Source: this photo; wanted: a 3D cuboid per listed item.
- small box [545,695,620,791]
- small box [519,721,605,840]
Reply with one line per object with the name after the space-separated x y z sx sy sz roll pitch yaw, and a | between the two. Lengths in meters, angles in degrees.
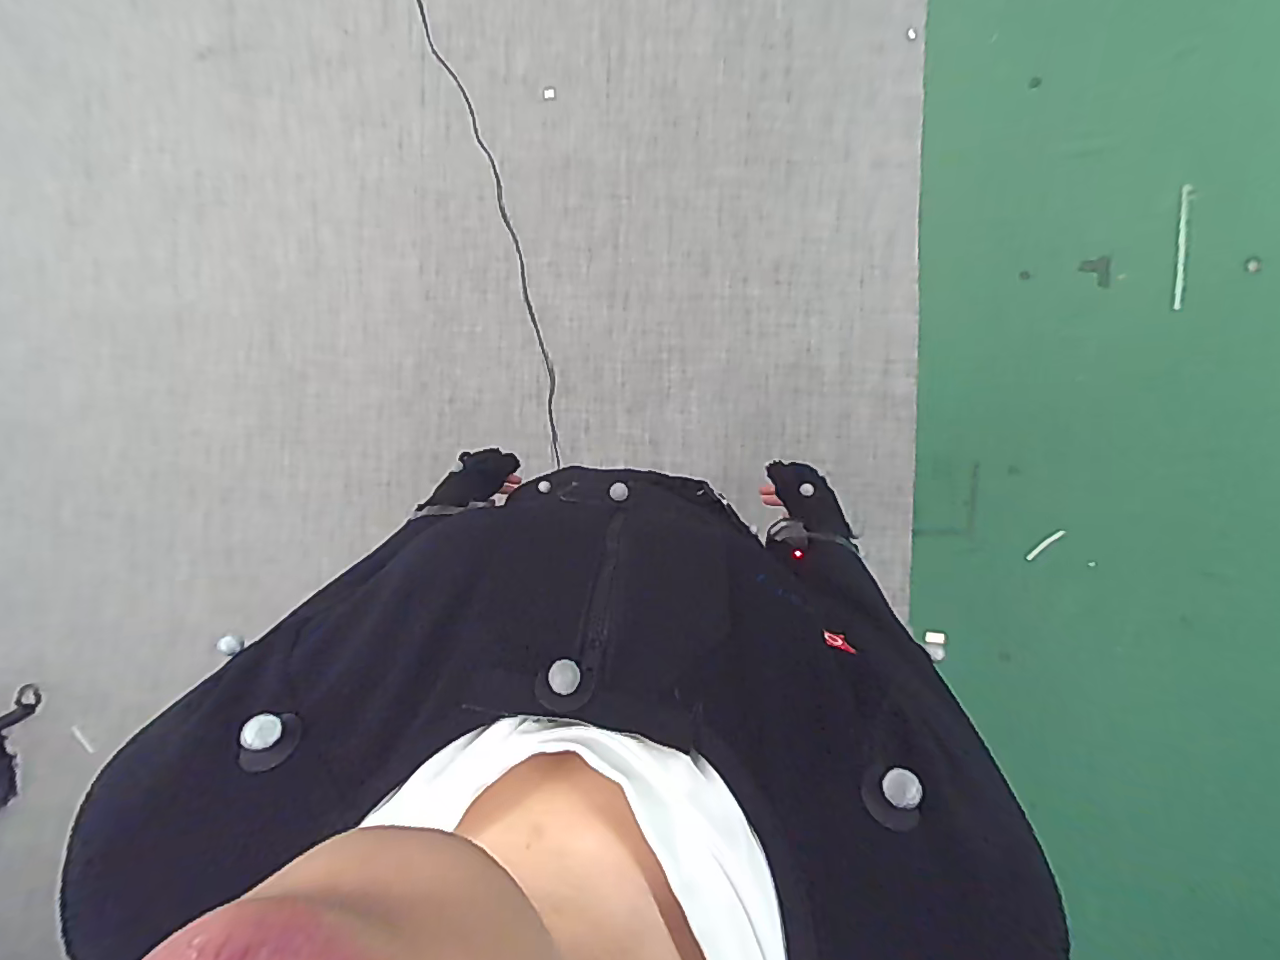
-0.150 0.673 1.402 0.179 0.176 0.168 4 91 2 | small box
-0.172 0.683 1.242 0.168 0.176 0.179 3 90 1 | small box
